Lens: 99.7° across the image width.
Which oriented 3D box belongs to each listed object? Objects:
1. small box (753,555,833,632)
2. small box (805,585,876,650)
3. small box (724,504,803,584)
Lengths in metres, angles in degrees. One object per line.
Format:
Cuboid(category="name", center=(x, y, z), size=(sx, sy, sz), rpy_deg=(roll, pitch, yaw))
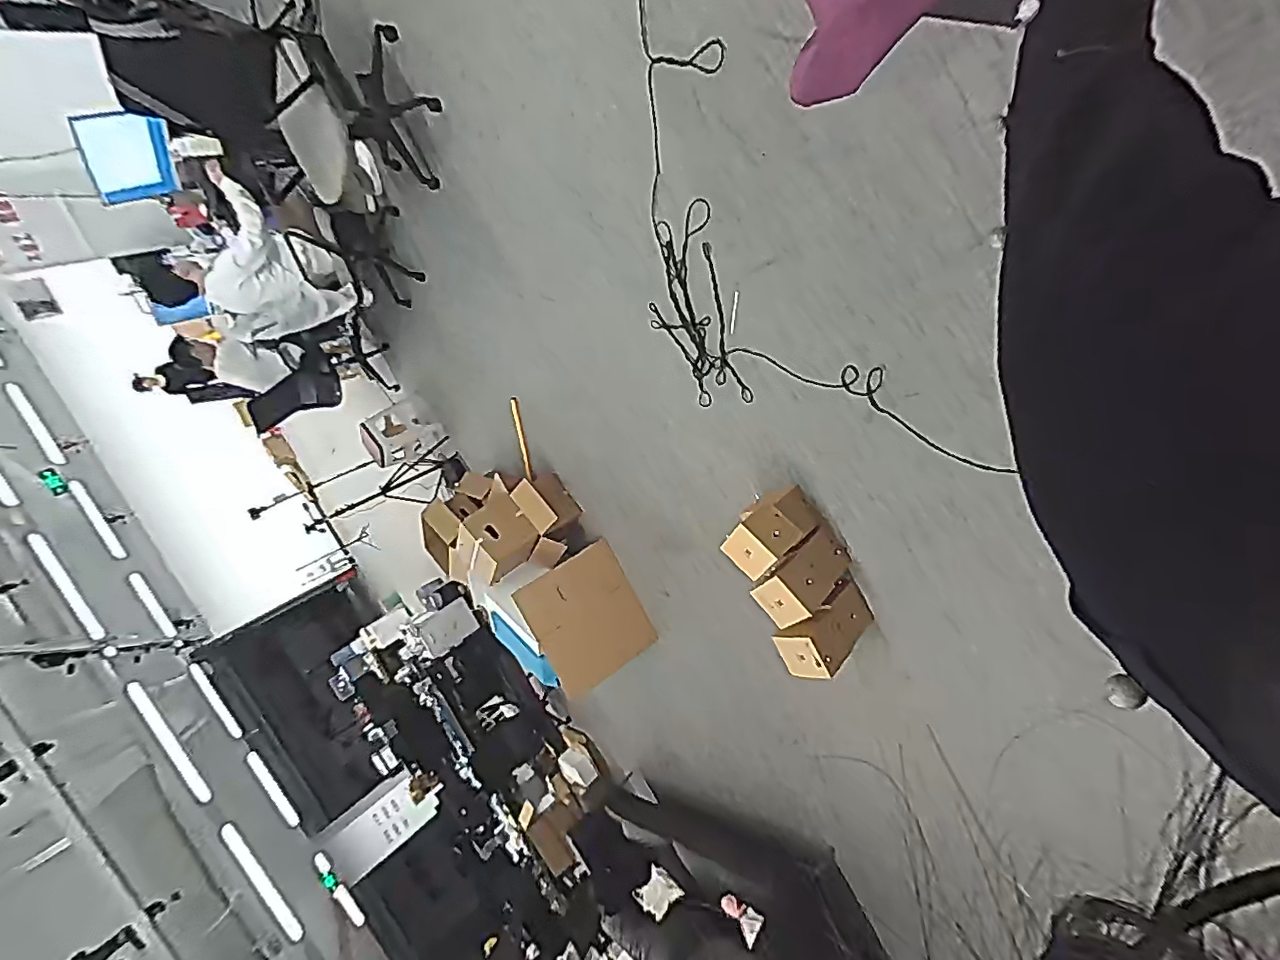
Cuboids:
Cuboid(category="small box", center=(0.527, 0.380, 1.834), size=(0.168, 0.176, 0.179), rpy_deg=(50, 145, 10))
Cuboid(category="small box", center=(0.723, 0.497, 1.971), size=(0.168, 0.176, 0.179), rpy_deg=(-24, 98, 55))
Cuboid(category="small box", center=(0.422, 0.213, 1.829), size=(0.168, 0.176, 0.179), rpy_deg=(45, 144, 16))
